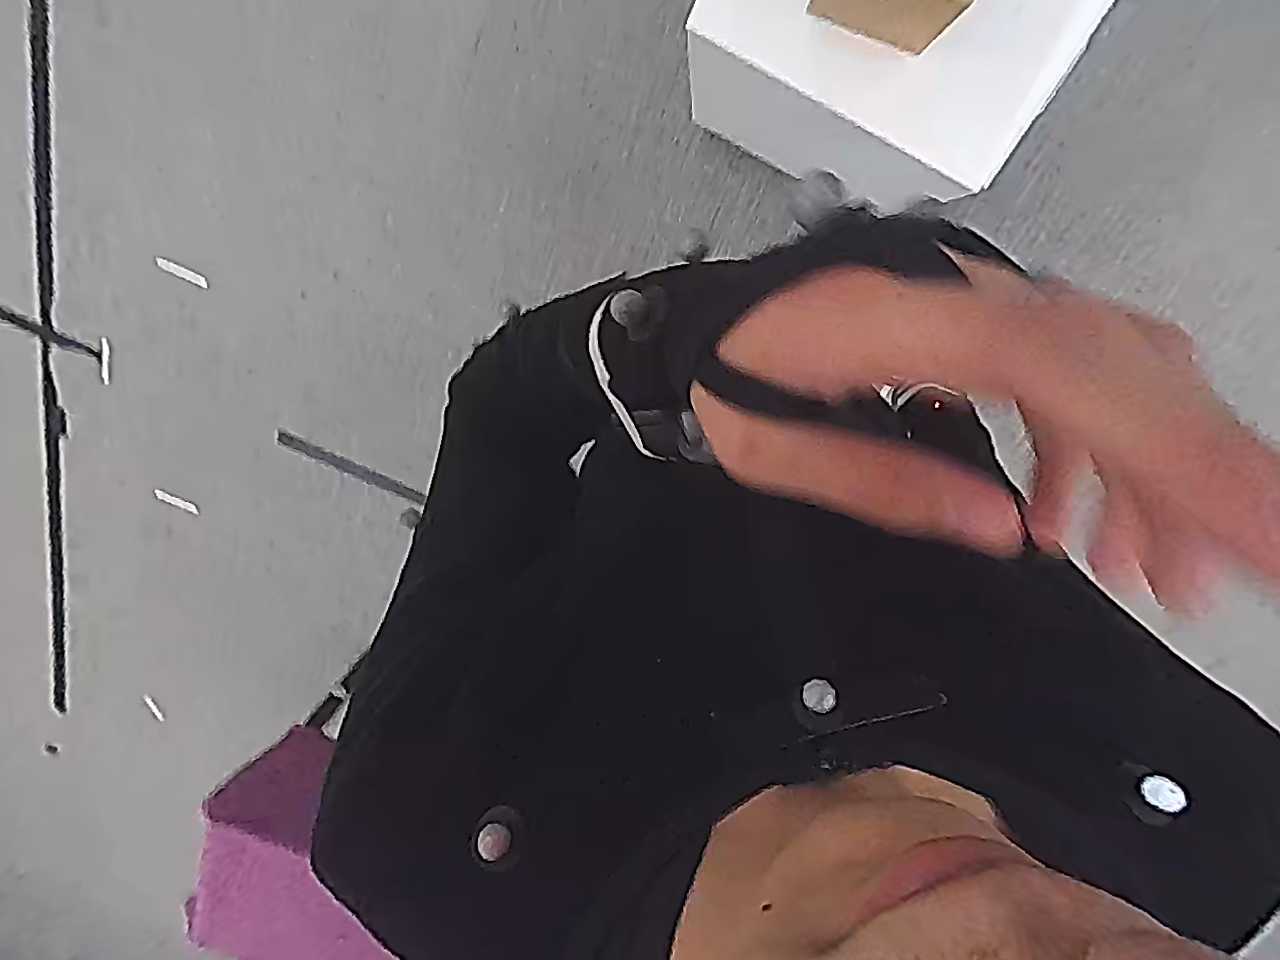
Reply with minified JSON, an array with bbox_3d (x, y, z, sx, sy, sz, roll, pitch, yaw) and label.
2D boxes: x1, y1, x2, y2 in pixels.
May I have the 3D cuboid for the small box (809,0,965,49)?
[{"bbox_3d":[0.331,-0.677,0.666,0.179,0.176,0.168,20,112,-2],"label":"small box"}]
